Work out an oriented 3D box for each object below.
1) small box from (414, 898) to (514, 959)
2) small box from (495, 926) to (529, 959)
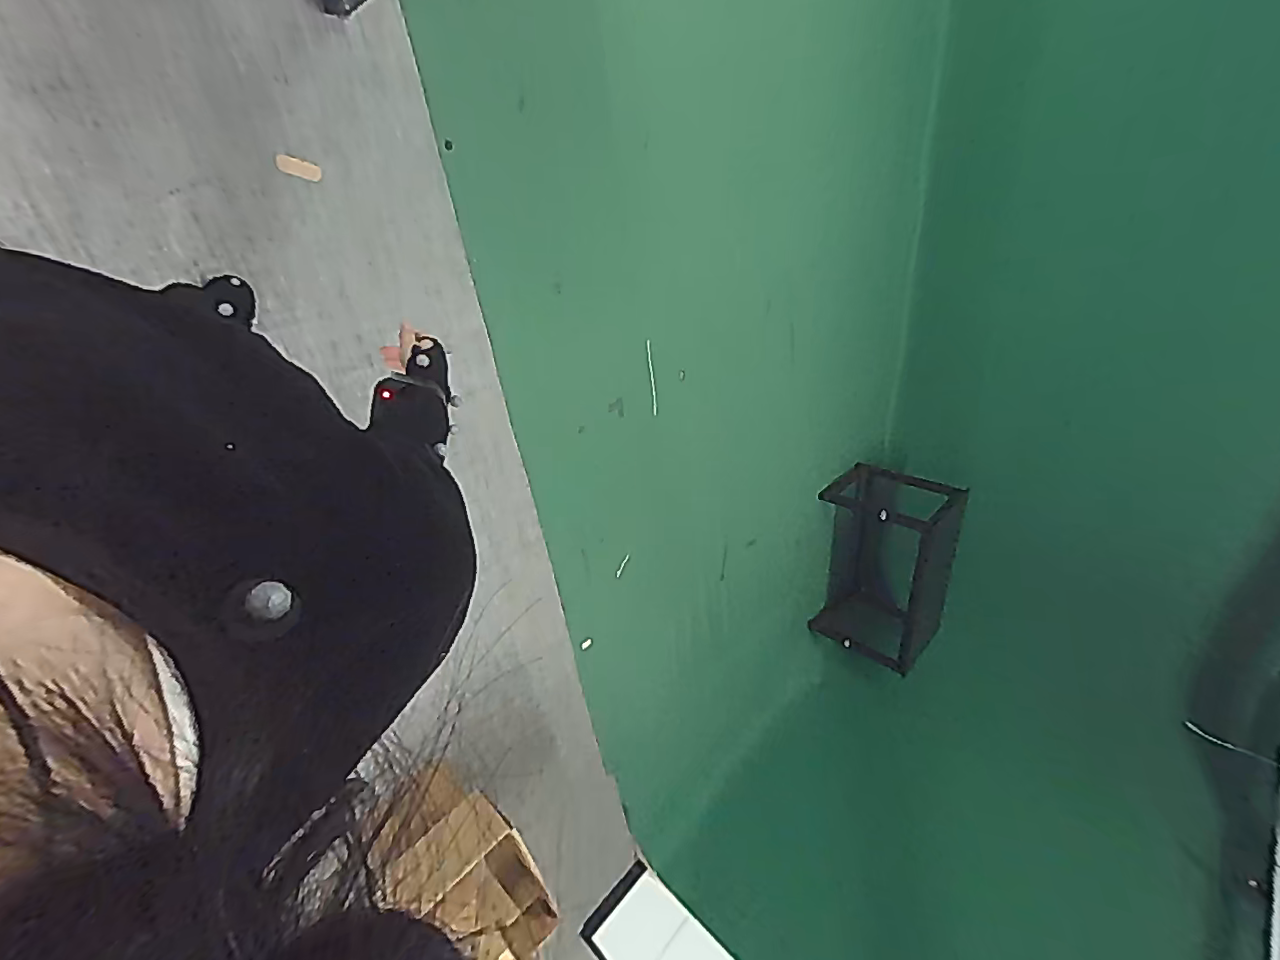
[{"bbox_3d":[-0.445,1.225,1.382,0.168,0.176,0.179,-35,129,-33],"label":"small box"},{"bbox_3d":[-0.393,1.413,1.517,0.168,0.176,0.179,-38,128,-31],"label":"small box"}]
